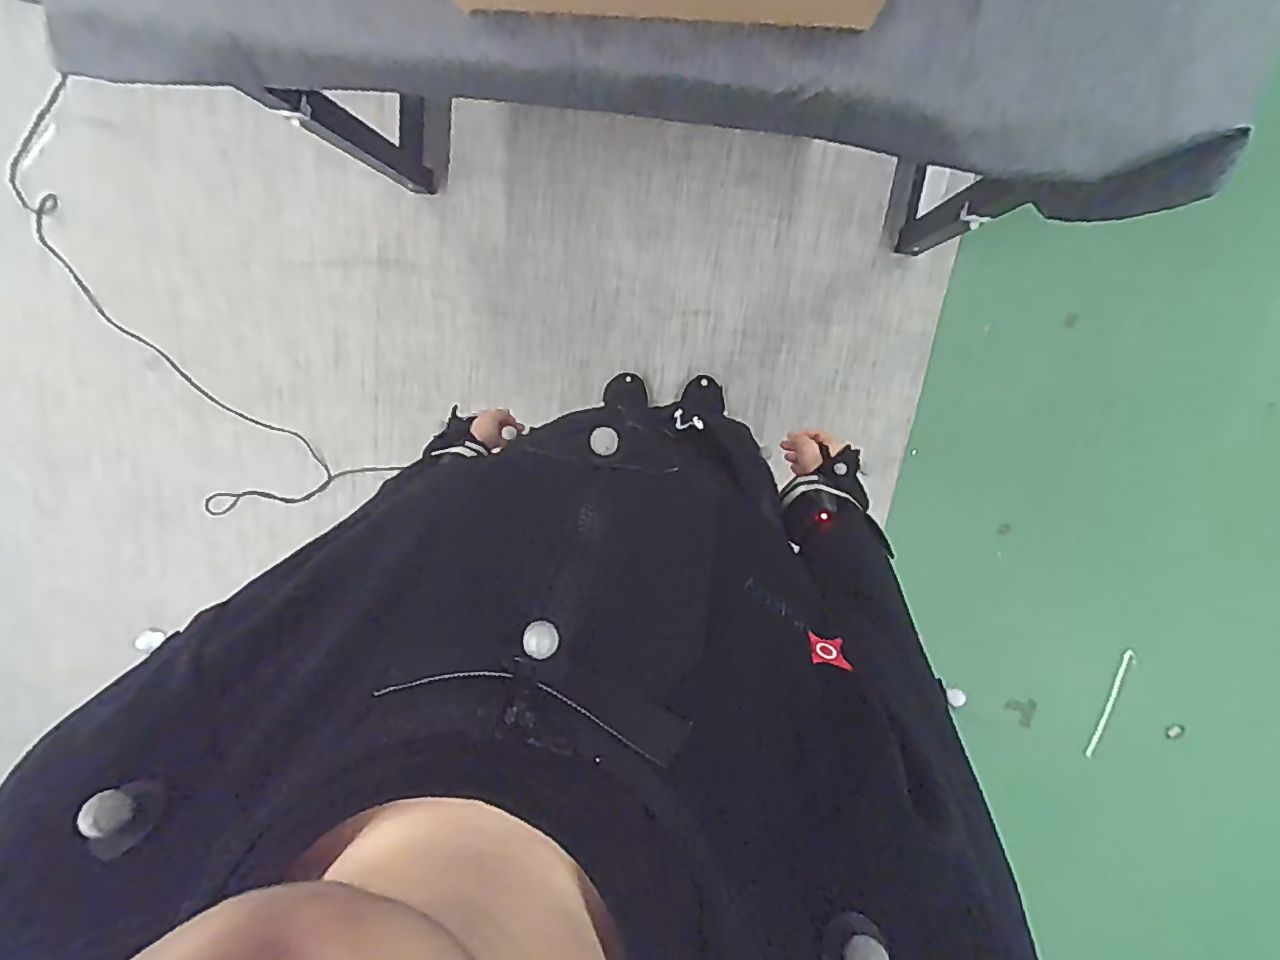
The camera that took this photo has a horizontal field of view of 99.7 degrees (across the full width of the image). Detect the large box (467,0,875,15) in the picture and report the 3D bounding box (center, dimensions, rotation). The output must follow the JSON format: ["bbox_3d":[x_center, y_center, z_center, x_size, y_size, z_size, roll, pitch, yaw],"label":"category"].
[{"bbox_3d":[0.021,-0.574,0.352,0.408,0.320,0.320,5,102,3],"label":"large box"}]
